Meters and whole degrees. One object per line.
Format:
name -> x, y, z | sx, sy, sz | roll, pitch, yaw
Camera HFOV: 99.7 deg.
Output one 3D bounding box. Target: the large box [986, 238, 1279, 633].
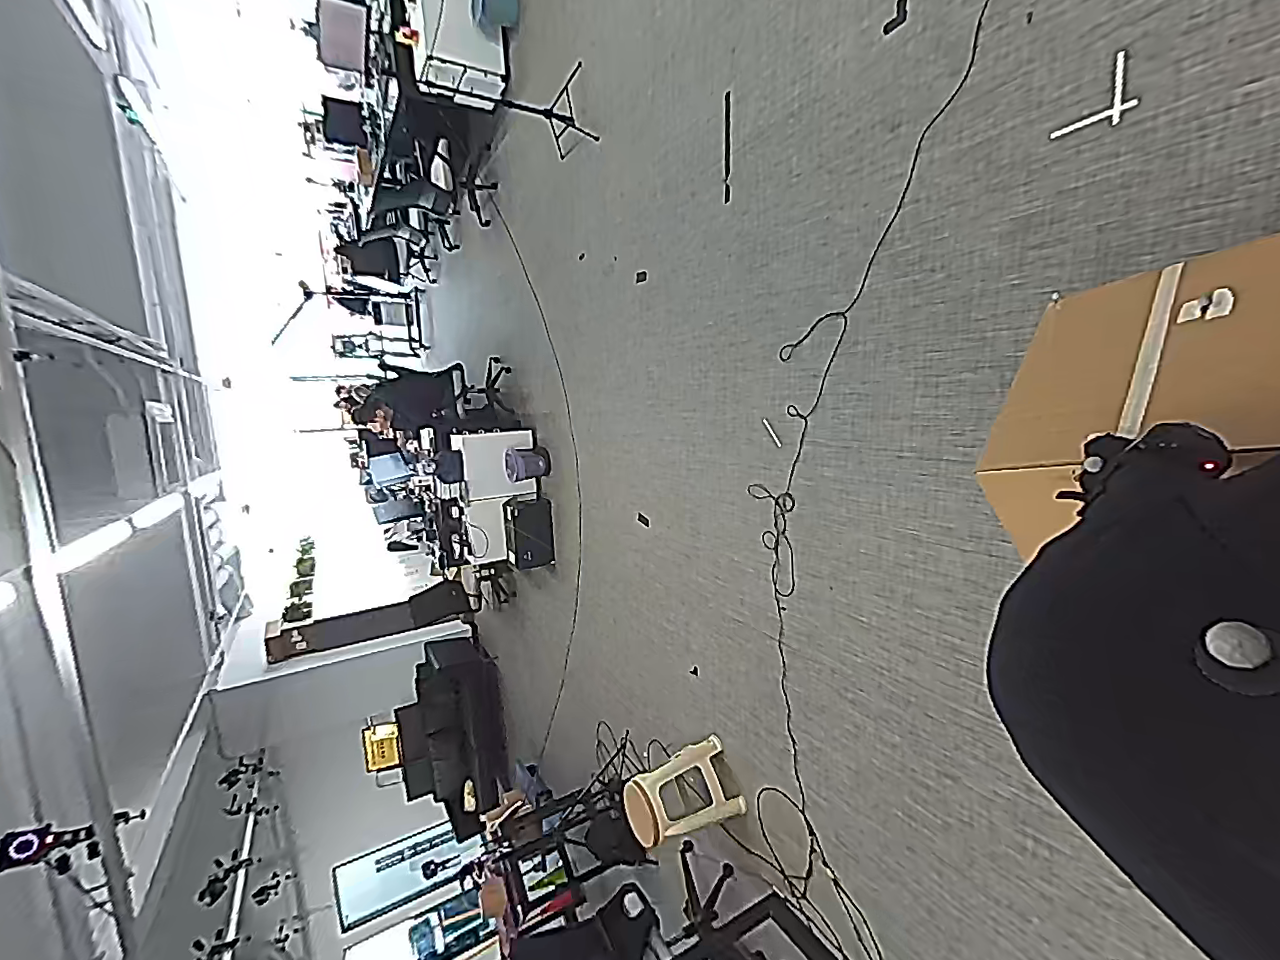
large box -> 0.747, -0.054, 0.733 | 0.320, 0.408, 0.320 | 49, 153, -21
